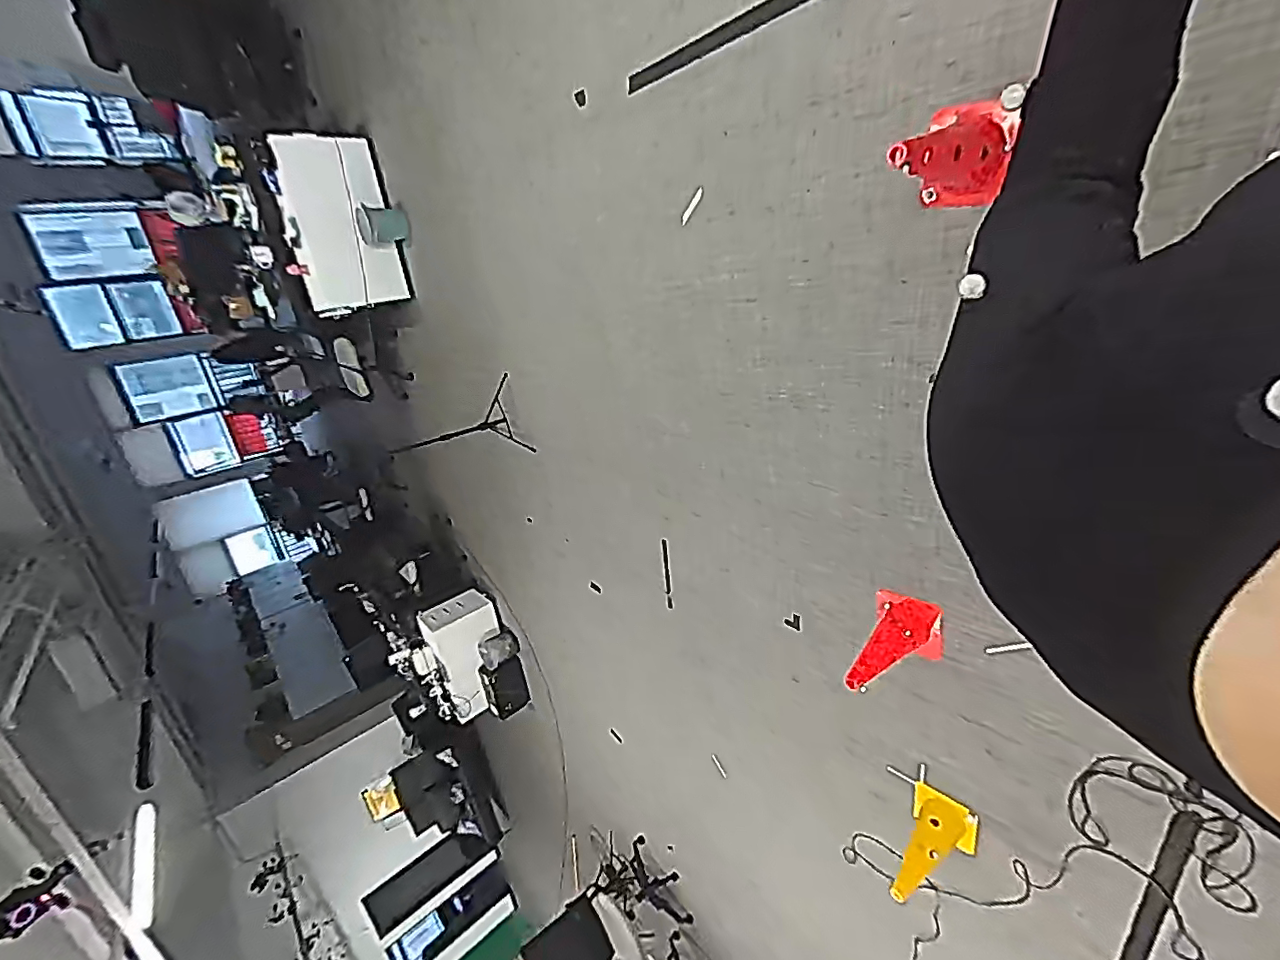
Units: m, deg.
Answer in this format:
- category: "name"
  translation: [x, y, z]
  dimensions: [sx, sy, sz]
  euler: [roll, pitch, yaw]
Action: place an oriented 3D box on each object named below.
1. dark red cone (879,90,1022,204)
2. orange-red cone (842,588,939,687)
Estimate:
- category: "dark red cone"
  translation: [0.587, -0.663, 1.085]
  dimensions: [0.201, 0.394, 0.202]
  euler: [23, 127, 43]
- category: "orange-red cone"
  translation: [0.722, 0.511, 1.628]
  dimensions: [0.198, 0.360, 0.199]
  euler: [15, 122, 49]
